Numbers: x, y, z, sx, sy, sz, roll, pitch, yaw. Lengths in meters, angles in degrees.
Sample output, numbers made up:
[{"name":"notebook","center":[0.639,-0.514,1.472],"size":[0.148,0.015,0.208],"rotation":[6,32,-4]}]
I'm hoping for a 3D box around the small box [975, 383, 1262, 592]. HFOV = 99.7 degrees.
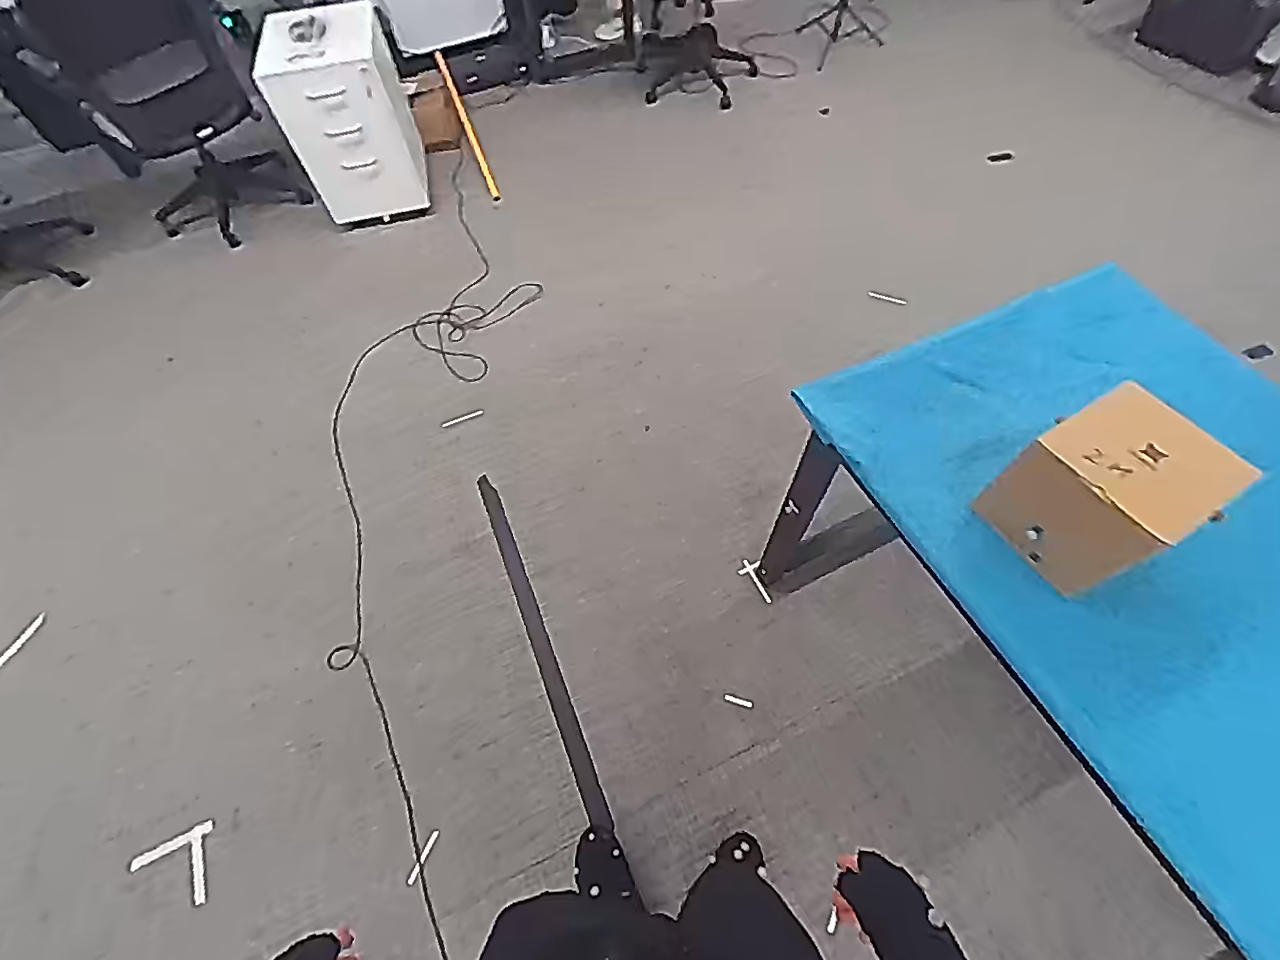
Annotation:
[{"name":"small box","center":[0.578,0.016,0.685],"size":[0.179,0.176,0.168],"rotation":[-26,61,-9]}]
